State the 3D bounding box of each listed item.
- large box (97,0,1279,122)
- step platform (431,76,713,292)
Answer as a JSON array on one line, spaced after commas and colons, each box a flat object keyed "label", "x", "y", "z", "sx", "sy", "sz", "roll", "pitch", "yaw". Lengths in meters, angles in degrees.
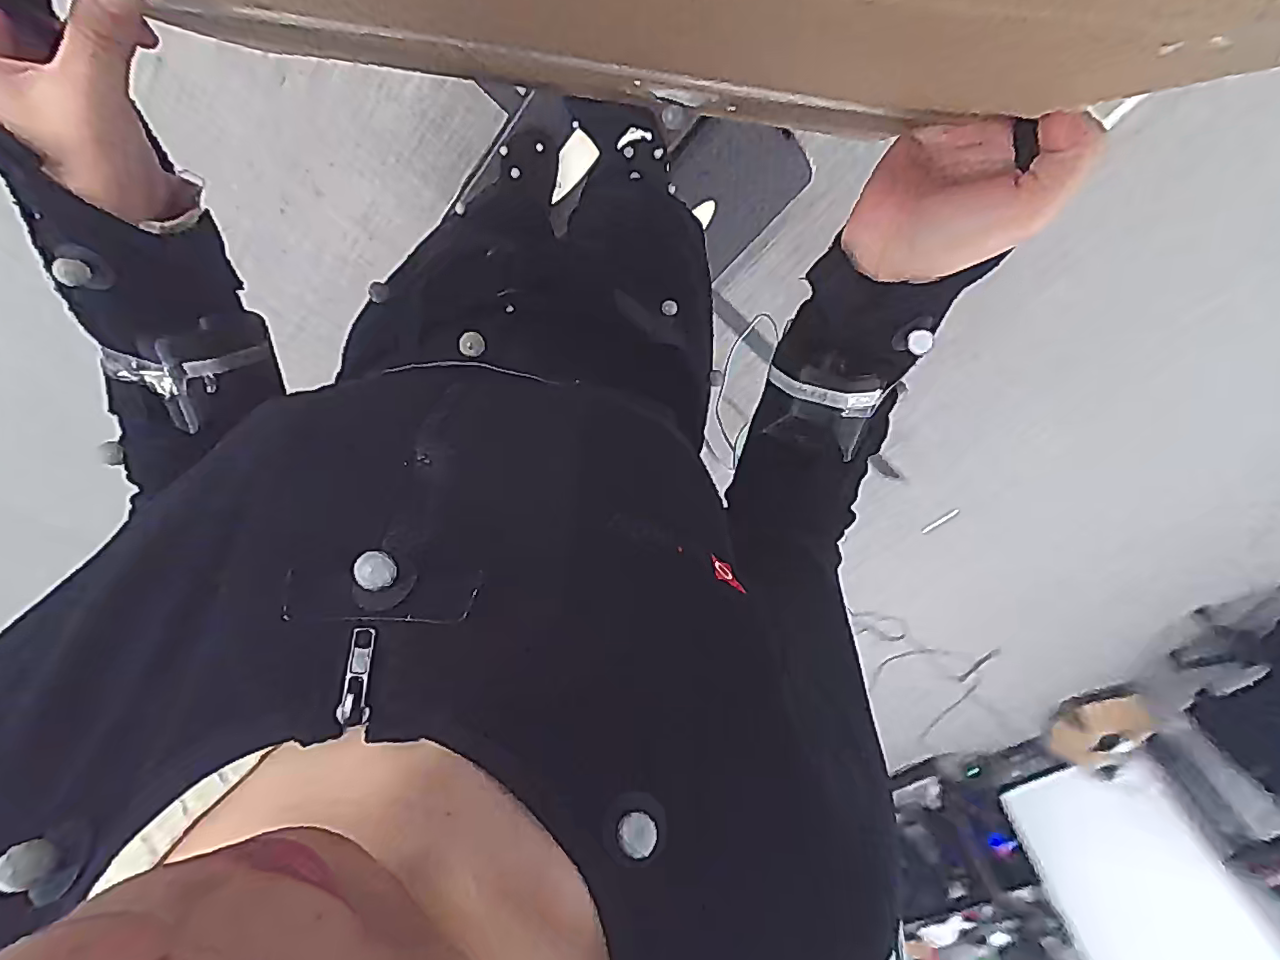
[{"label": "large box", "x": -0.038, "y": -0.315, "z": 0.145, "sx": 0.408, "sy": 0.320, "sz": 0.320, "roll": 6, "pitch": 121, "yaw": -2}, {"label": "step platform", "x": -0.129, "y": -0.725, "z": 1.129, "sx": 0.684, "sy": 0.204, "sz": 0.286, "roll": -37, "pitch": 123, "yaw": 23}]
